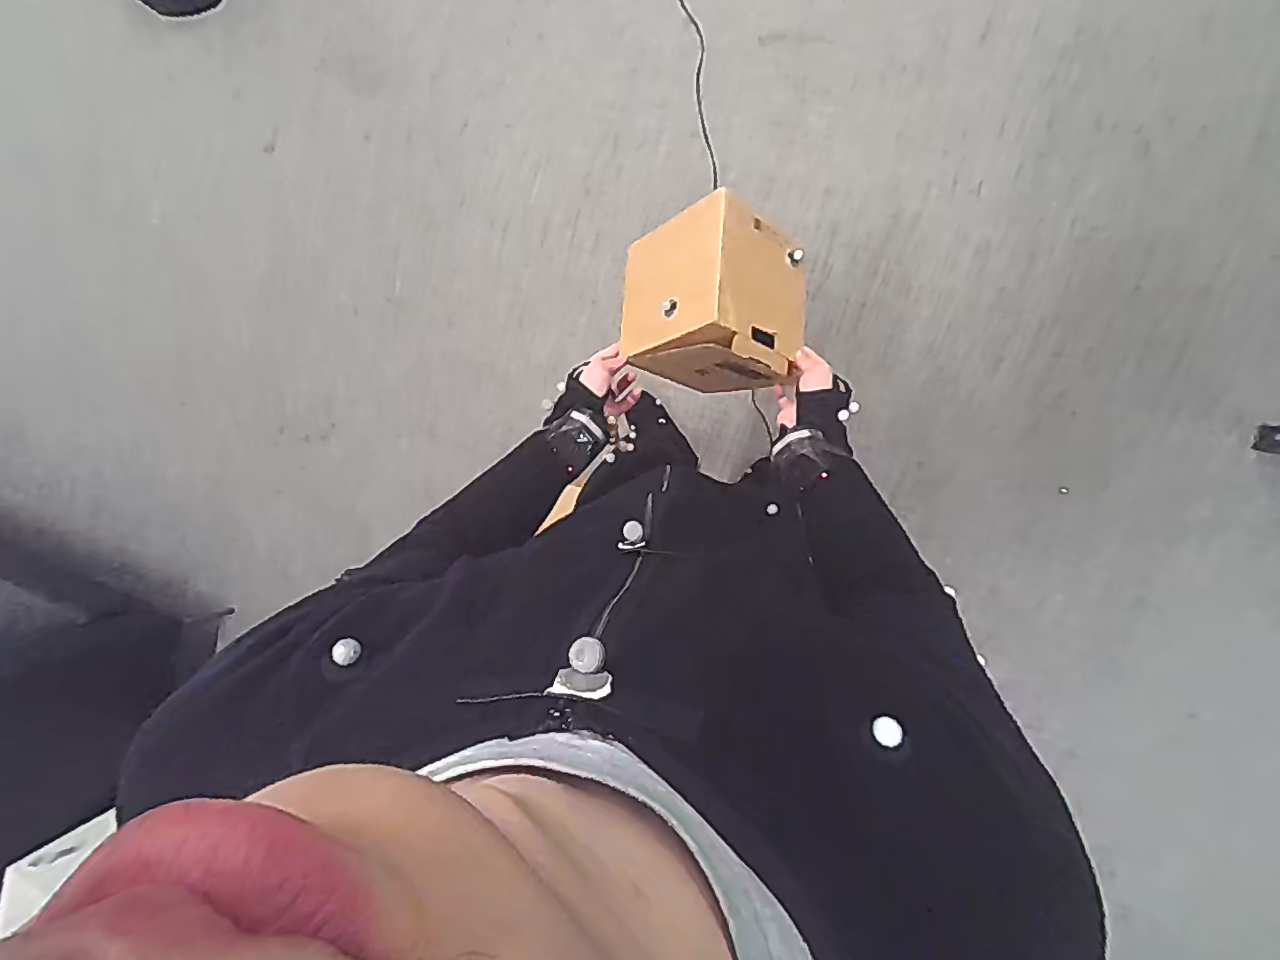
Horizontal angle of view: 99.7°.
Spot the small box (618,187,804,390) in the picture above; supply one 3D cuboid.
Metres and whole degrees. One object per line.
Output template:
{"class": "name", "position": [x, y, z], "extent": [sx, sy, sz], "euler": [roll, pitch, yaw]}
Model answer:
{"class": "small box", "position": [0.090, -0.232, 0.691], "extent": [0.179, 0.168, 0.176], "euler": [-6, 76, 49]}
